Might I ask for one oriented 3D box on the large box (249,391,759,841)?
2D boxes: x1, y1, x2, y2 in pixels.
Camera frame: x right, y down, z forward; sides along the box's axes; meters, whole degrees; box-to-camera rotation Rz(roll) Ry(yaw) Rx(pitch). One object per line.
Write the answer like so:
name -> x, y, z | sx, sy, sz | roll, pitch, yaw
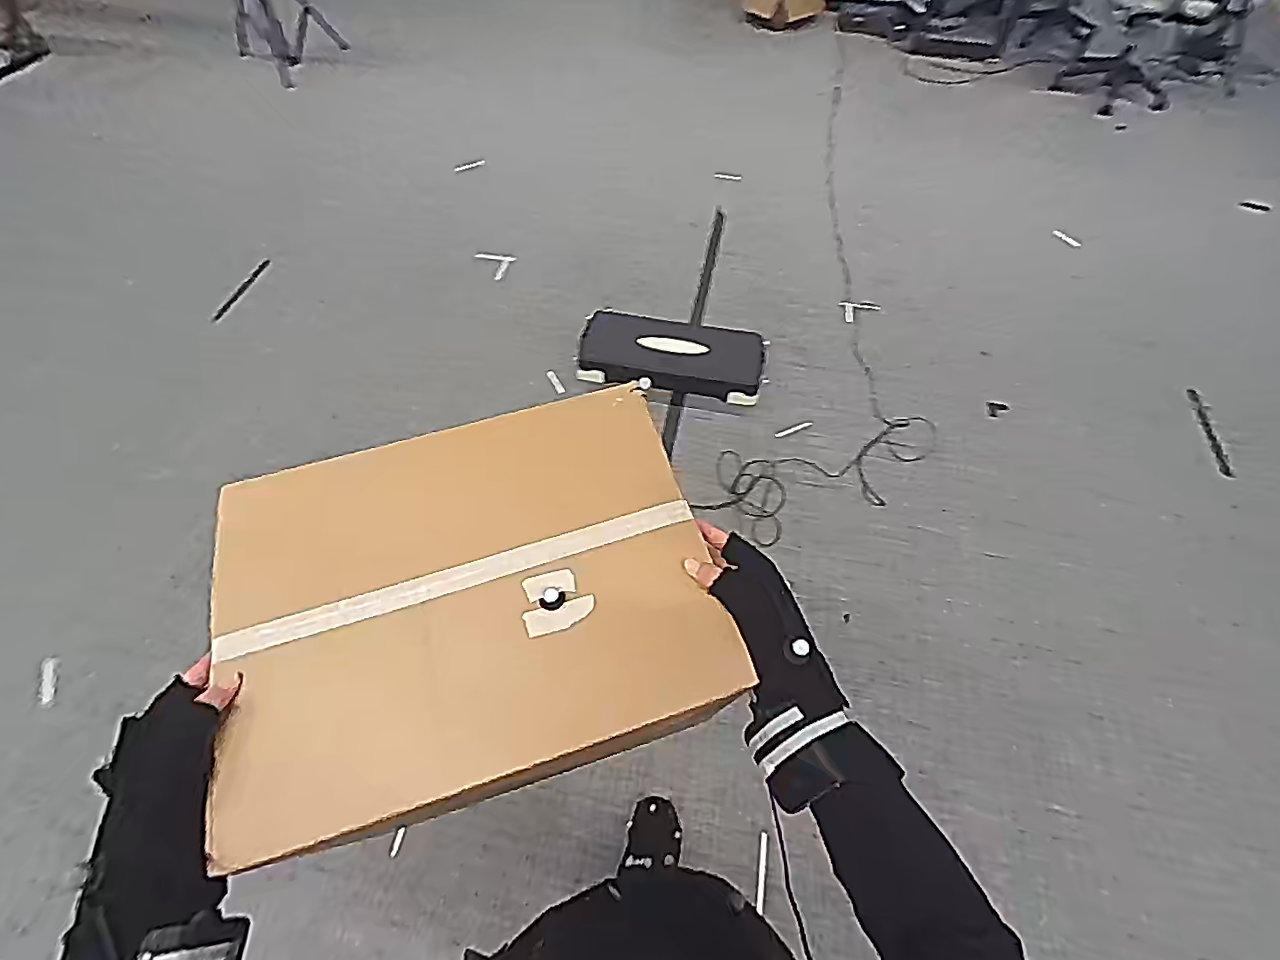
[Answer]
large box -> -0.135, 0.154, 0.611 | 0.408, 0.320, 0.320 | -14, 63, -9
